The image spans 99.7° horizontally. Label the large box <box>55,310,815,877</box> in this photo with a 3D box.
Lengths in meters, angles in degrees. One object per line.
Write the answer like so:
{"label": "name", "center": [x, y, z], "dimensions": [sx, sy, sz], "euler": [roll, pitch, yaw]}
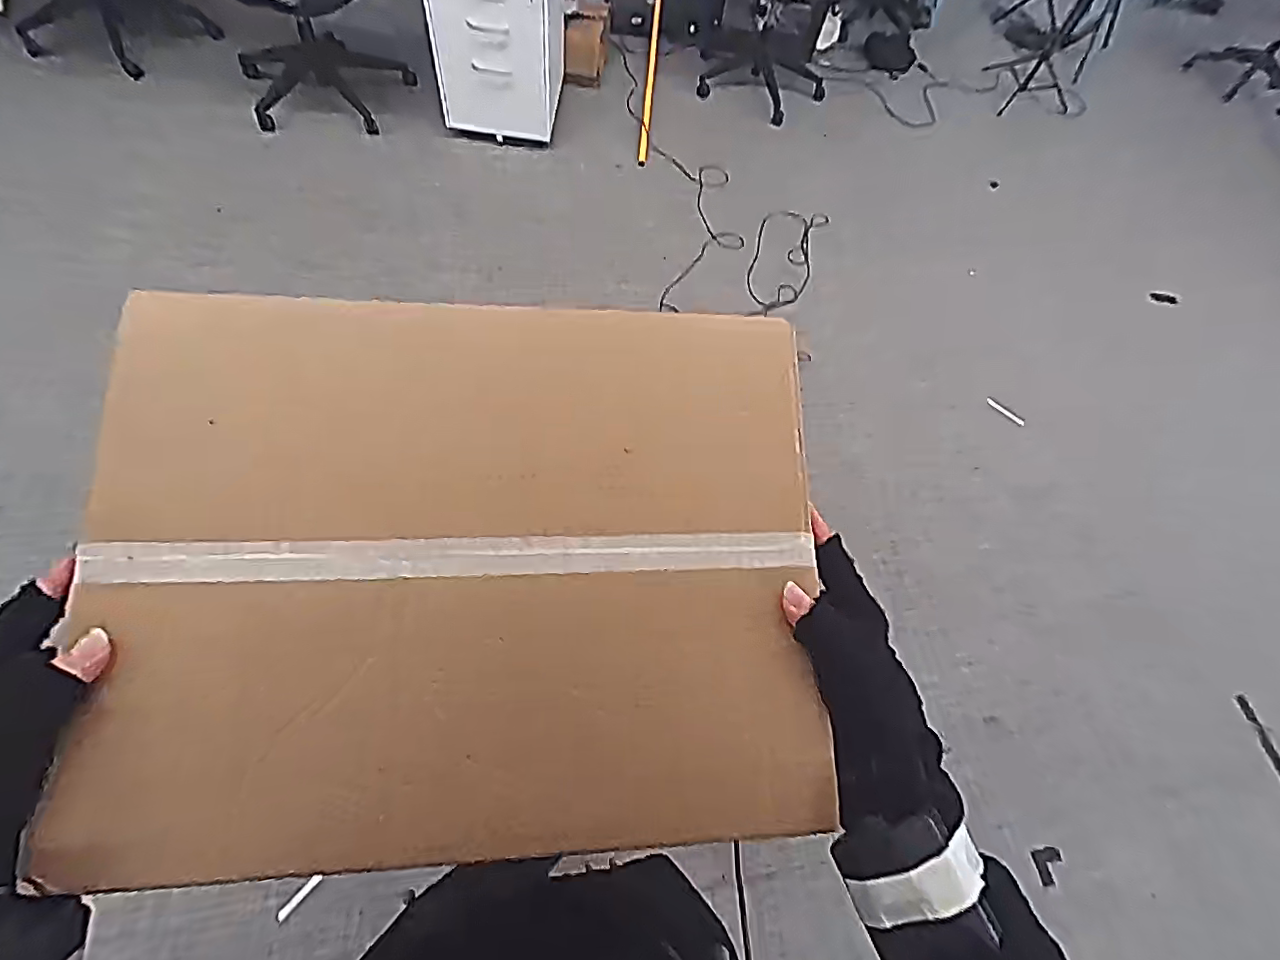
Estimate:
{"label": "large box", "center": [-0.114, 0.074, 0.465], "dimensions": [0.408, 0.320, 0.320], "euler": [0, 77, -7]}
